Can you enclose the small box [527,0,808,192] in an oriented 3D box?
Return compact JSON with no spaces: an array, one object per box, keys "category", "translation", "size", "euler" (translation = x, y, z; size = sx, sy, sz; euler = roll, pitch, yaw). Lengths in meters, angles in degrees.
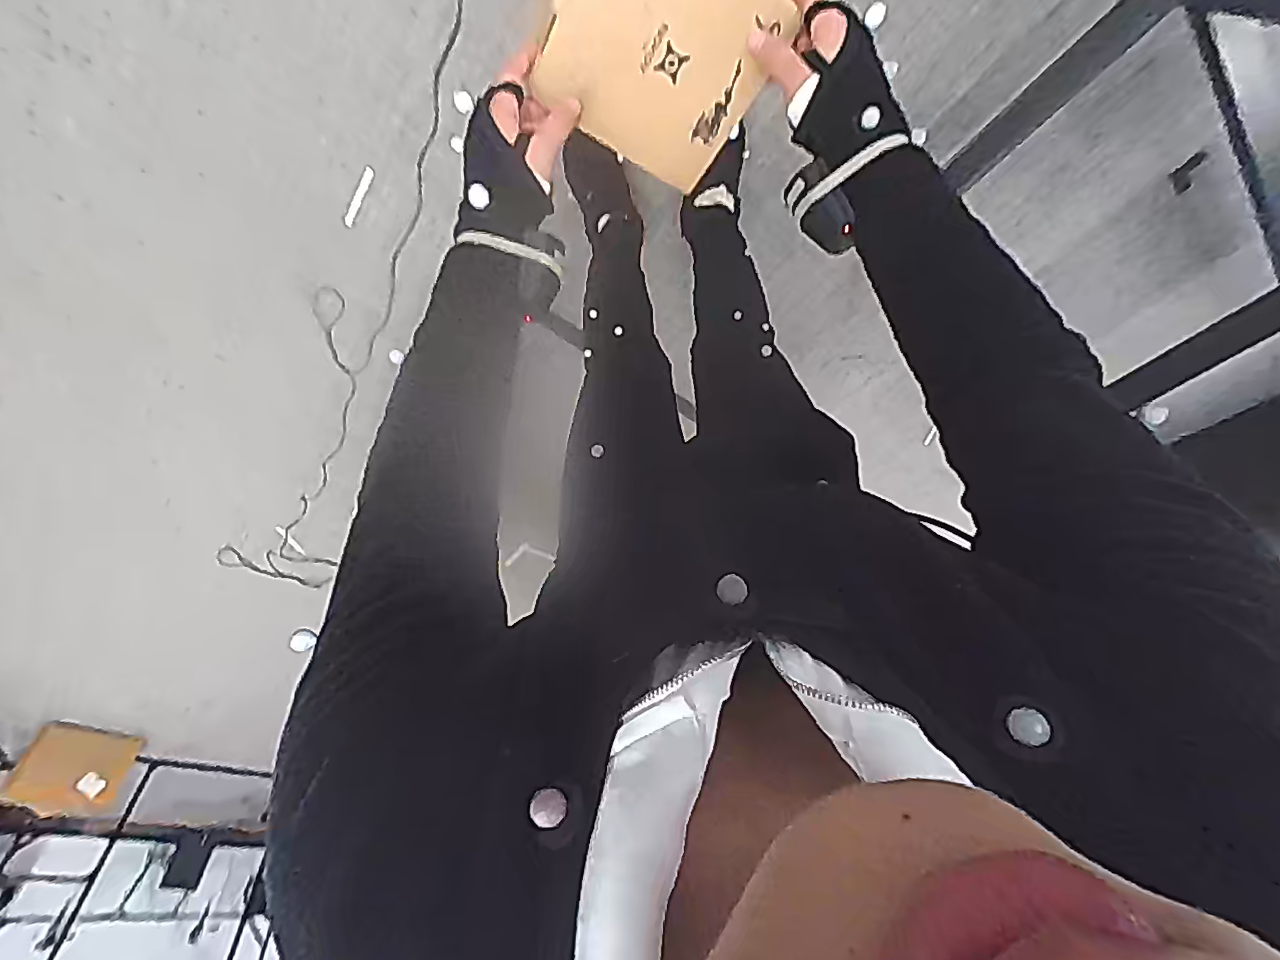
[{"category":"small box","translation":[0.013,-0.412,0.489],"size":[0.179,0.176,0.168],"euler":[18,138,-28]}]
